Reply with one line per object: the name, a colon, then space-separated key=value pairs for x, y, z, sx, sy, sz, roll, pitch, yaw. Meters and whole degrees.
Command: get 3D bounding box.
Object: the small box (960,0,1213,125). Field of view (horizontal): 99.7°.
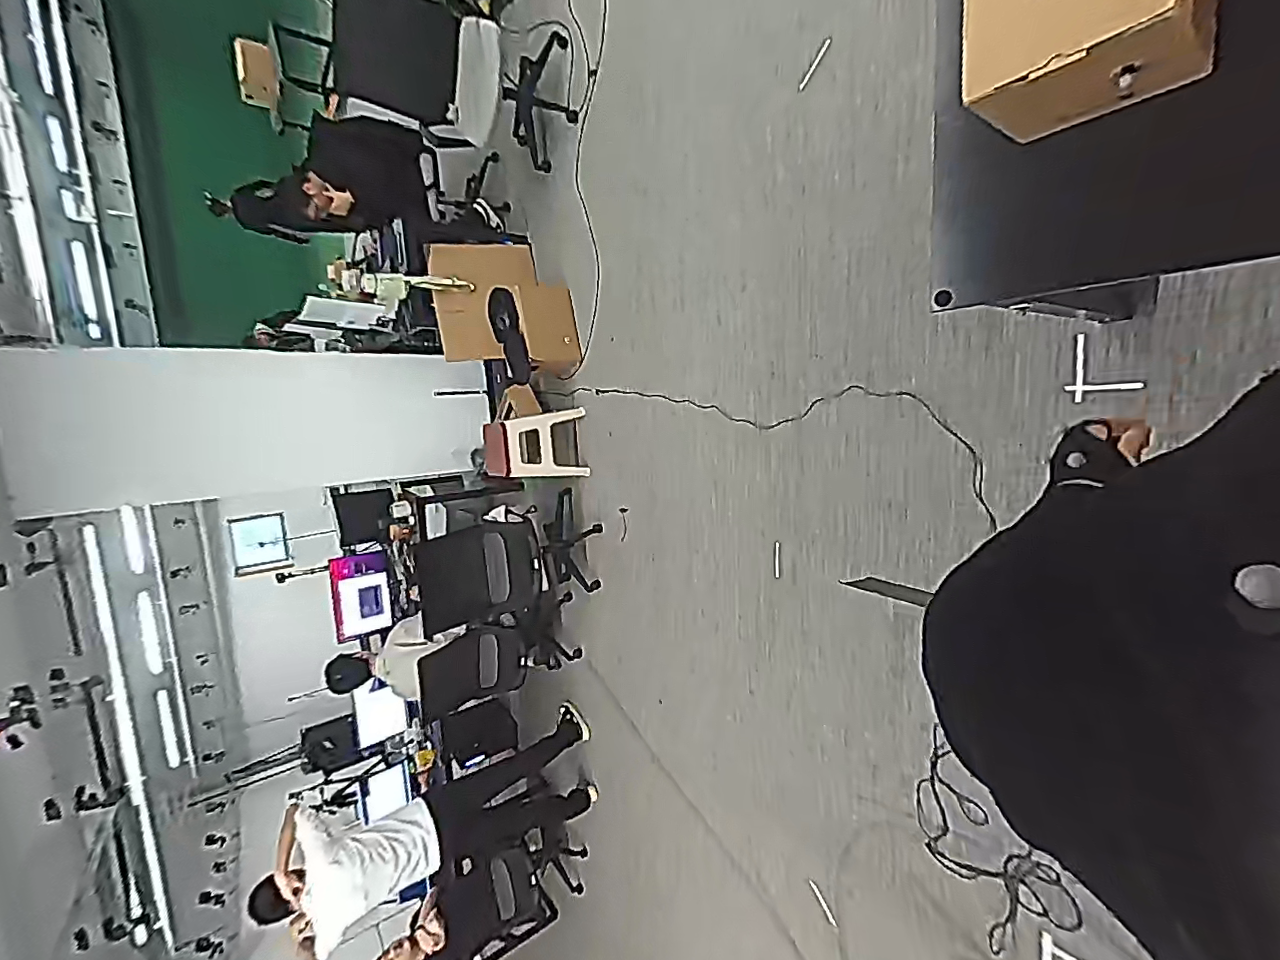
small box: x=0.445 y=-0.489 z=0.540 sx=0.168 sy=0.176 sz=0.179 roll=6 pitch=101 yaw=52
